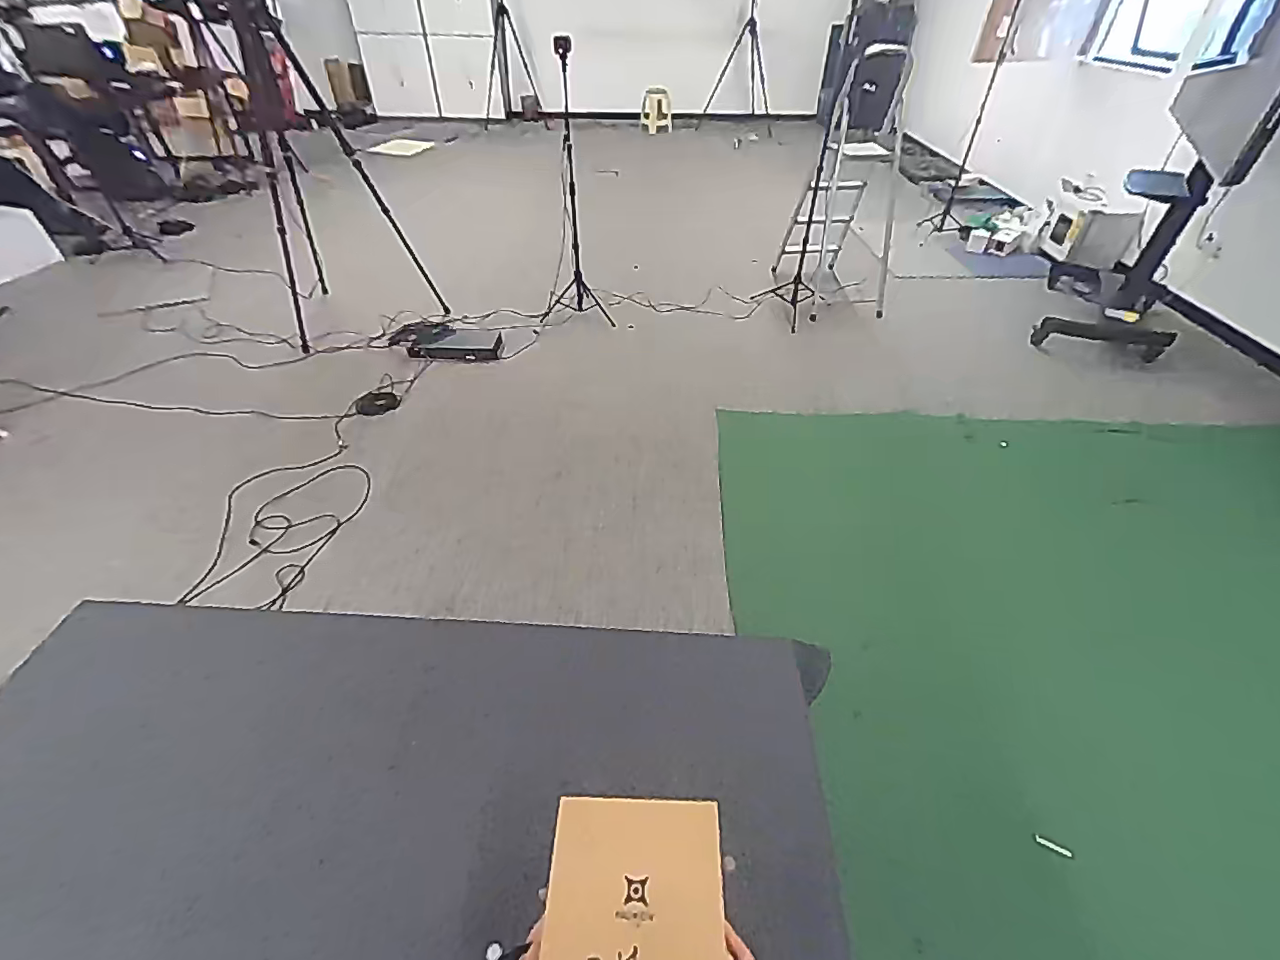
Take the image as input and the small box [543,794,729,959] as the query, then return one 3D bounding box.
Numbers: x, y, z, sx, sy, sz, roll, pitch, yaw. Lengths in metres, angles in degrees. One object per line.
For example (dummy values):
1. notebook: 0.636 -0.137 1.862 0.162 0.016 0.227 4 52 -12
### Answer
1. small box: 0.002 0.452 0.558 0.168 0.176 0.179 -1 42 4
